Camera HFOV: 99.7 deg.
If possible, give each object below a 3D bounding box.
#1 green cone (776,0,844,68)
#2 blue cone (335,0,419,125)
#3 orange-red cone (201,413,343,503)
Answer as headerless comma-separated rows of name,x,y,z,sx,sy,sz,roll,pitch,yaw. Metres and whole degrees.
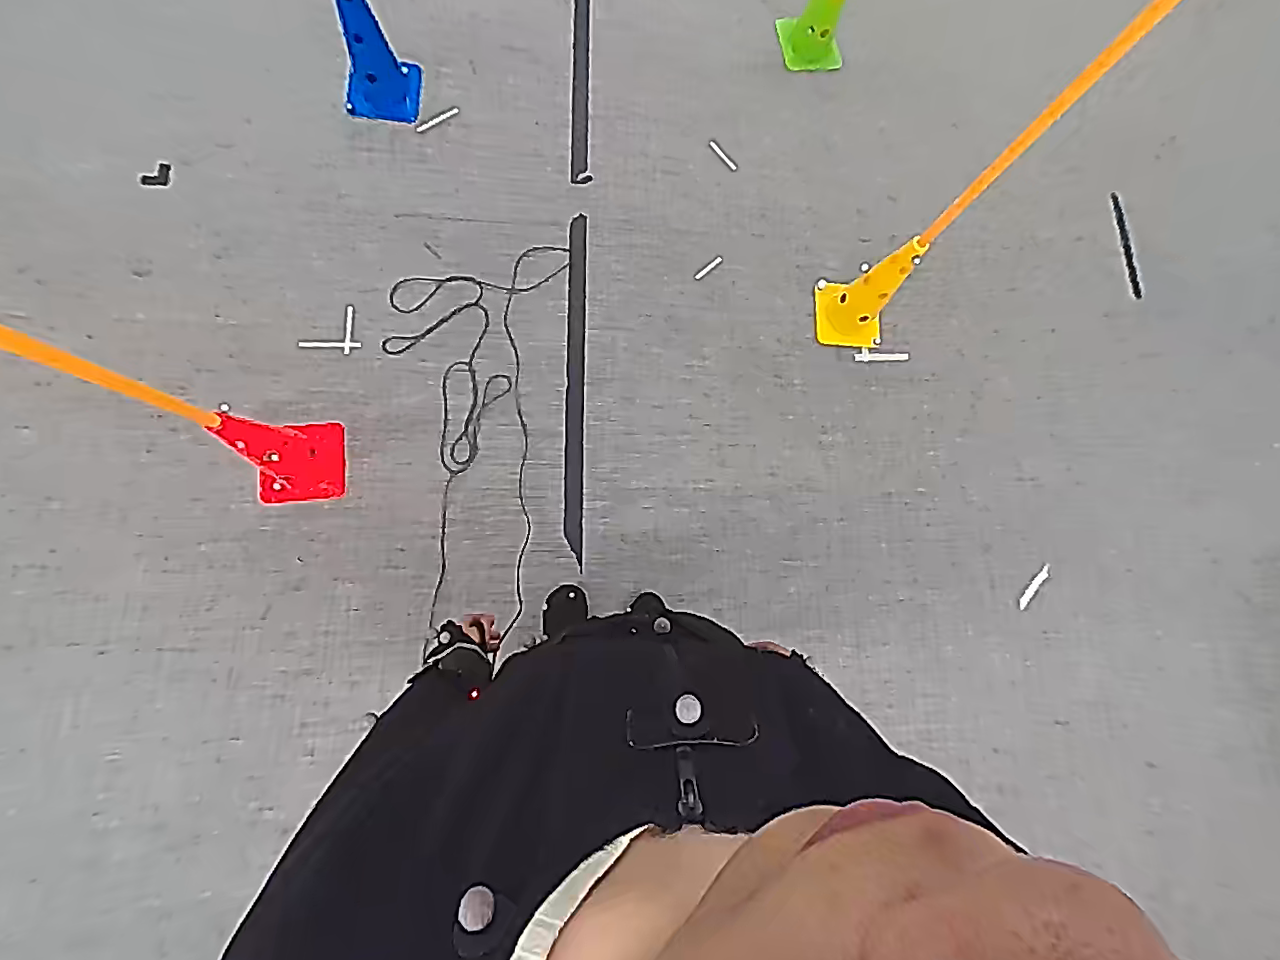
green cone,0.581,-1.490,1.631,0.200,0.368,0.202,-10,82,-9
blue cone,-0.725,-1.157,1.414,0.193,0.380,0.192,3,79,-6
orange-red cone,-0.818,-0.076,1.175,0.199,0.360,0.198,-4,80,-9
